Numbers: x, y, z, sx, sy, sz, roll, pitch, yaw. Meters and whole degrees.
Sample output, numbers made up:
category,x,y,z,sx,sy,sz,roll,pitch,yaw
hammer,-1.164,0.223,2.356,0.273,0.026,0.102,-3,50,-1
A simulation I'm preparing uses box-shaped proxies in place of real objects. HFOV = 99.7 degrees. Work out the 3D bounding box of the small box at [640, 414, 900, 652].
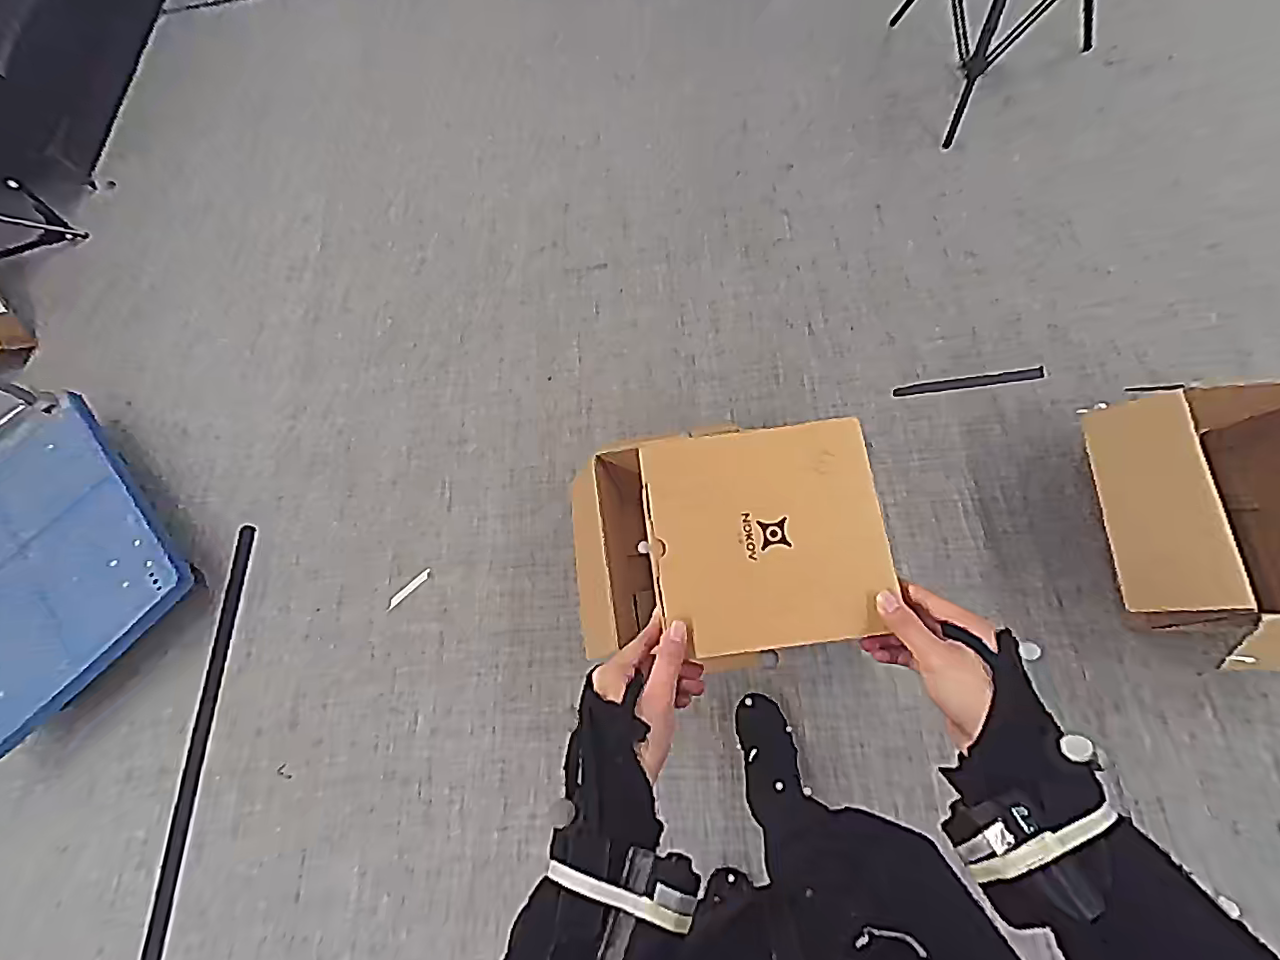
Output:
category,x,y,z,sx,sy,sz,roll,pitch,yaw
small box,0.097,0.054,0.487,0.179,0.176,0.168,-8,76,1
